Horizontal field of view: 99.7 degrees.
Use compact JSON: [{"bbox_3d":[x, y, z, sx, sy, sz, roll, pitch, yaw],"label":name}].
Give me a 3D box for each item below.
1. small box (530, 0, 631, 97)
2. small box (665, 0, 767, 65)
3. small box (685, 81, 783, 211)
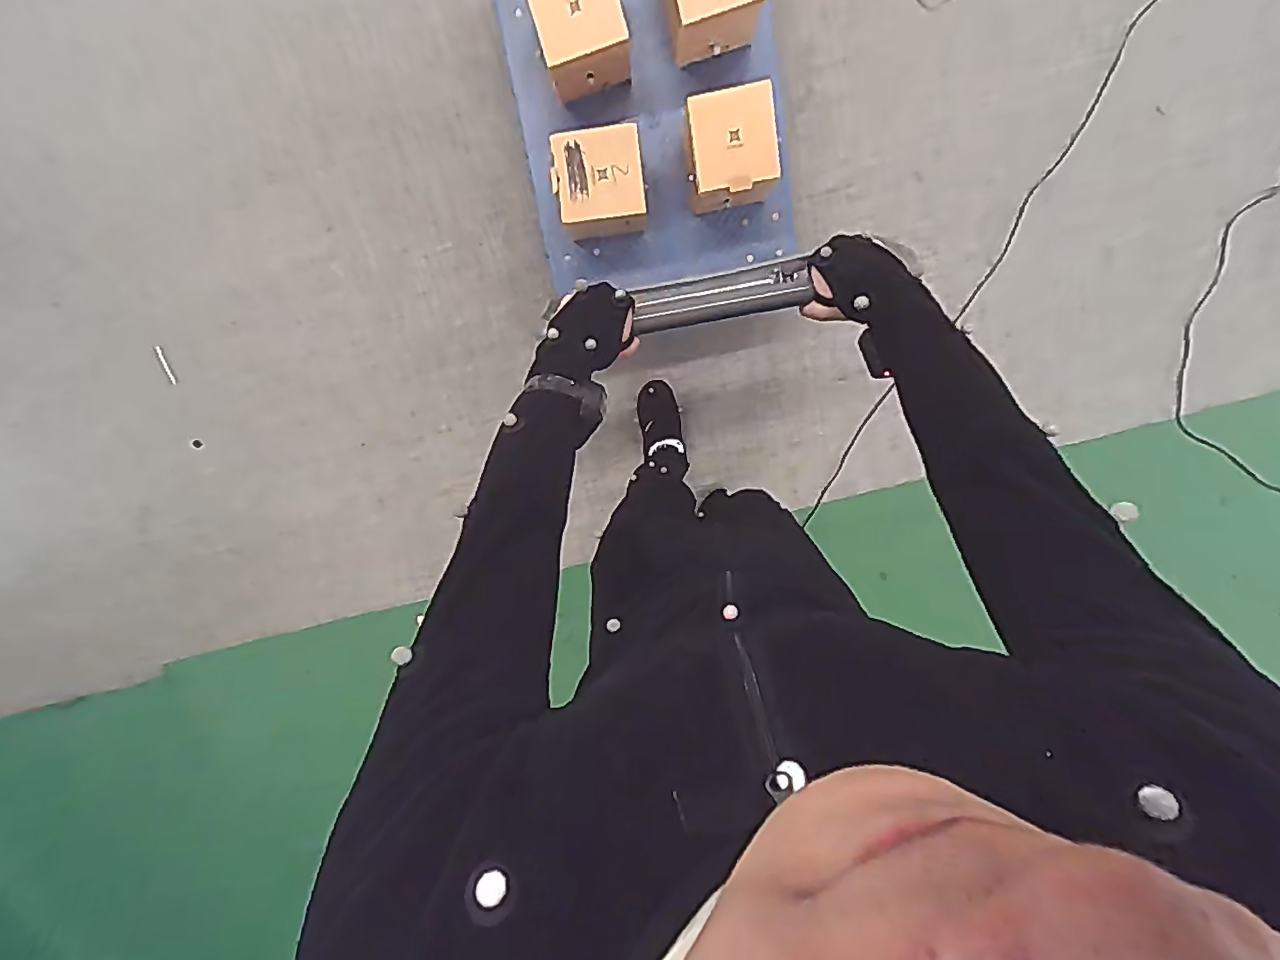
[{"bbox_3d":[-0.118,-0.908,1.085,0.168,0.176,0.179,-16,103,4],"label":"small box"},{"bbox_3d":[0.139,-0.973,1.064,0.168,0.176,0.179,-15,104,5],"label":"small box"},{"bbox_3d":[0.190,-0.690,1.136,0.168,0.176,0.179,-10,104,3],"label":"small box"}]
